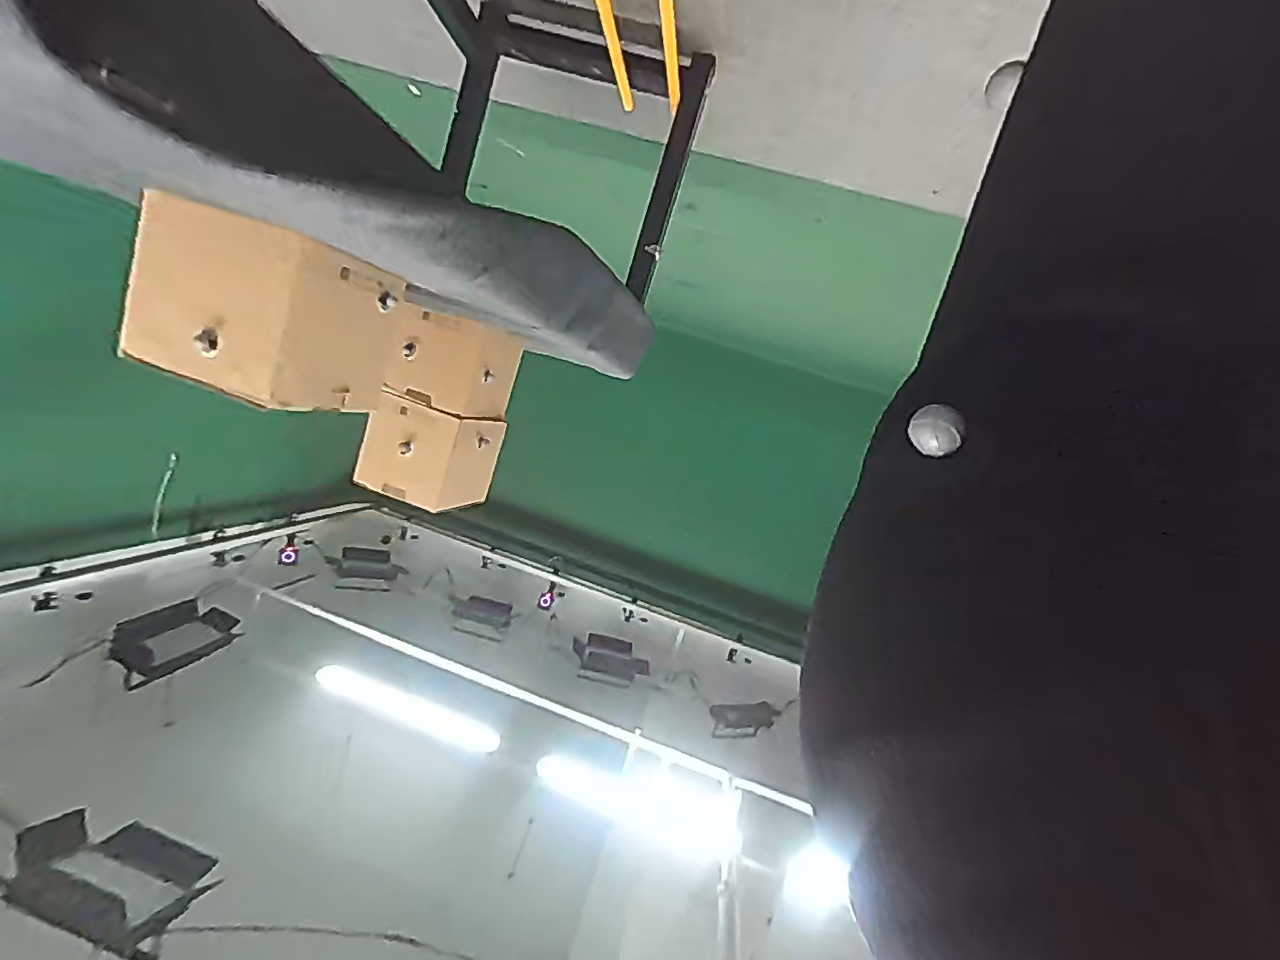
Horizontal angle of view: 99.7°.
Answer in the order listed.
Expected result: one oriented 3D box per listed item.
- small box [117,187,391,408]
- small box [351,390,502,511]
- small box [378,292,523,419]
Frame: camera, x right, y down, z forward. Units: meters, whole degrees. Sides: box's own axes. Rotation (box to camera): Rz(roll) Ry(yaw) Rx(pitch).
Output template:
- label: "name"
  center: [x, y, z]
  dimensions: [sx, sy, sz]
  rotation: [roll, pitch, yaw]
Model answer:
- label: "small box"
  center: [-0.396, -0.186, 0.583]
  dimensions: [0.179, 0.176, 0.168]
  rotation: [19, -173, 7]
- label: "small box"
  center: [-0.373, -0.057, 0.970]
  dimensions: [0.168, 0.176, 0.179]
  rotation: [20, -173, 9]
- label: "small box"
  center: [-0.327, -0.214, 0.950]
  dimensions: [0.168, 0.176, 0.179]
  rotation: [20, -172, 6]
